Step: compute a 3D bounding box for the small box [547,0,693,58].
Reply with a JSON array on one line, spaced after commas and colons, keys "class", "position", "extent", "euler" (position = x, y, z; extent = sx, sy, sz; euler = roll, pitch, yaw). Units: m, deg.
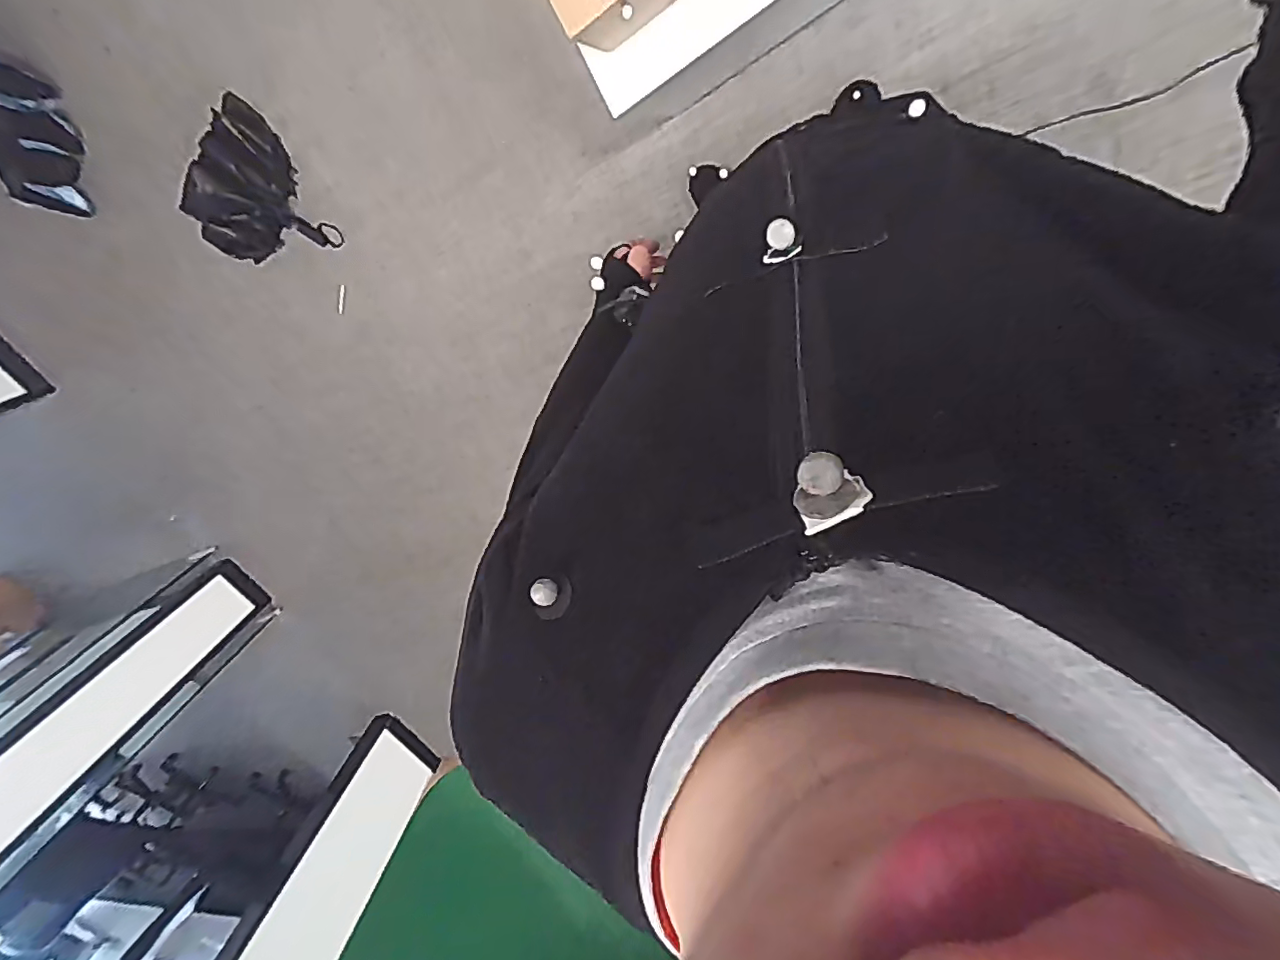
[{"class": "small box", "position": [-0.033, -0.608, 0.590], "extent": [0.168, 0.176, 0.179], "euler": [-21, 115, 25]}]
